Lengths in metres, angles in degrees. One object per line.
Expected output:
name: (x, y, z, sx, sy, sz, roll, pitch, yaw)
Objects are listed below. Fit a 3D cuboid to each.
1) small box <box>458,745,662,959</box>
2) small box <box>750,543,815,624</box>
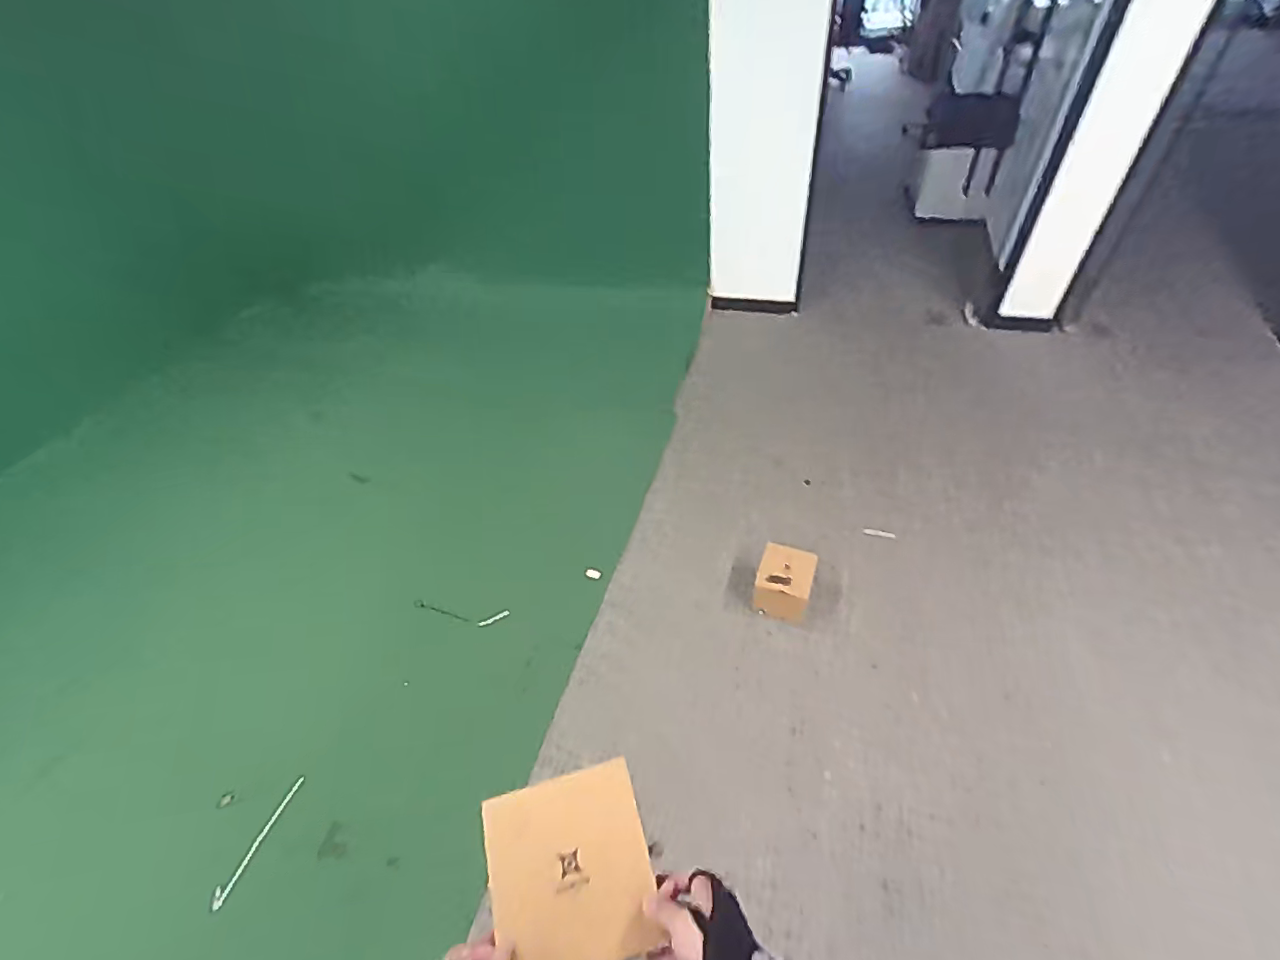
small box: (-0.078, 0.434, 0.635, 0.179, 0.176, 0.168, 13, 58, 10)
small box: (0.457, 0.338, 1.750, 0.168, 0.176, 0.179, 14, 50, 18)
